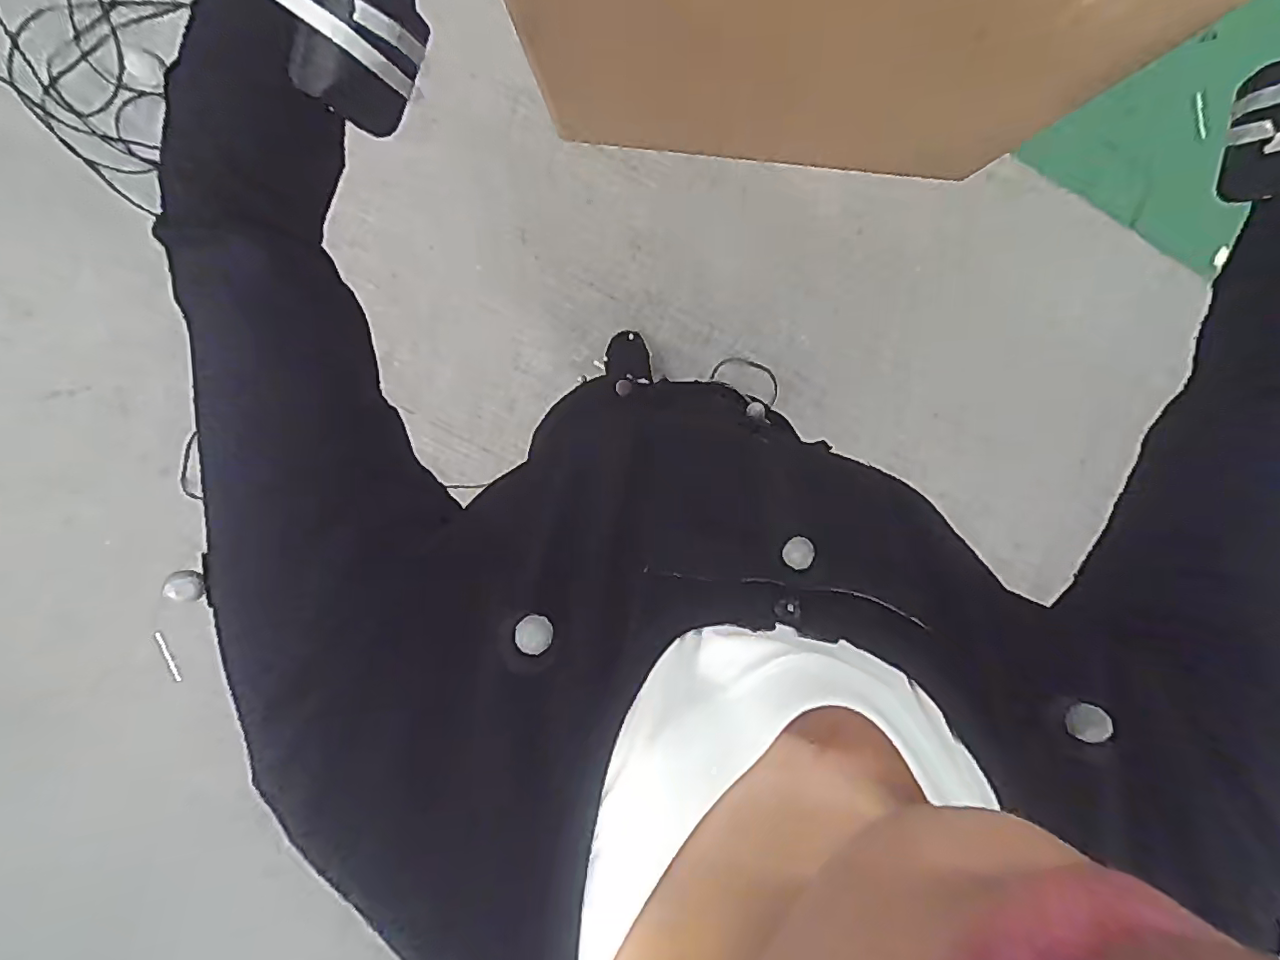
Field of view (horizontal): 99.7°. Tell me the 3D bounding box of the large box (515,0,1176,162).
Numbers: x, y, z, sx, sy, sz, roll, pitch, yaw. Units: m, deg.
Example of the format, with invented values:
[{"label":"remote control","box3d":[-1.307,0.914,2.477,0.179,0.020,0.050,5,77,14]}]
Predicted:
[{"label":"large box","box3d":[0.124,-0.449,0.363,0.408,0.320,0.320,5,101,-1]}]
